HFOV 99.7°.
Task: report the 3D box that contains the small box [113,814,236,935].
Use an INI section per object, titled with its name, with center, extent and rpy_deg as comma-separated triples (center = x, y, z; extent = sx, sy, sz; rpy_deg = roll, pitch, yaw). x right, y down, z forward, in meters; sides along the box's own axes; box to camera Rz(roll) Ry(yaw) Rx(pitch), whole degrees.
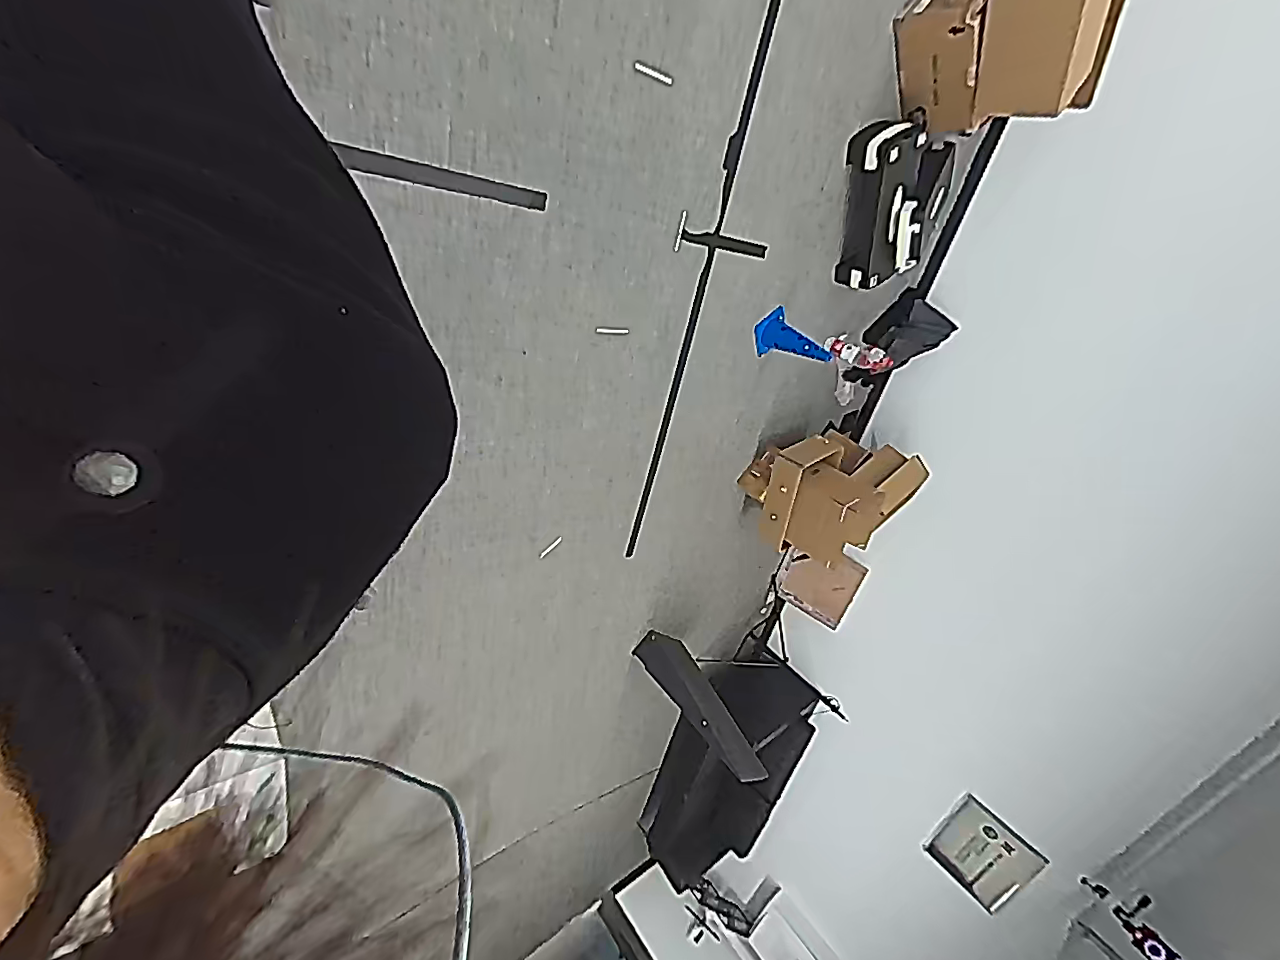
[small box]
center = -1.036, 0.897, 1.205
extent = 0.179, 0.176, 0.168
rpy_deg = -15, 130, -36
